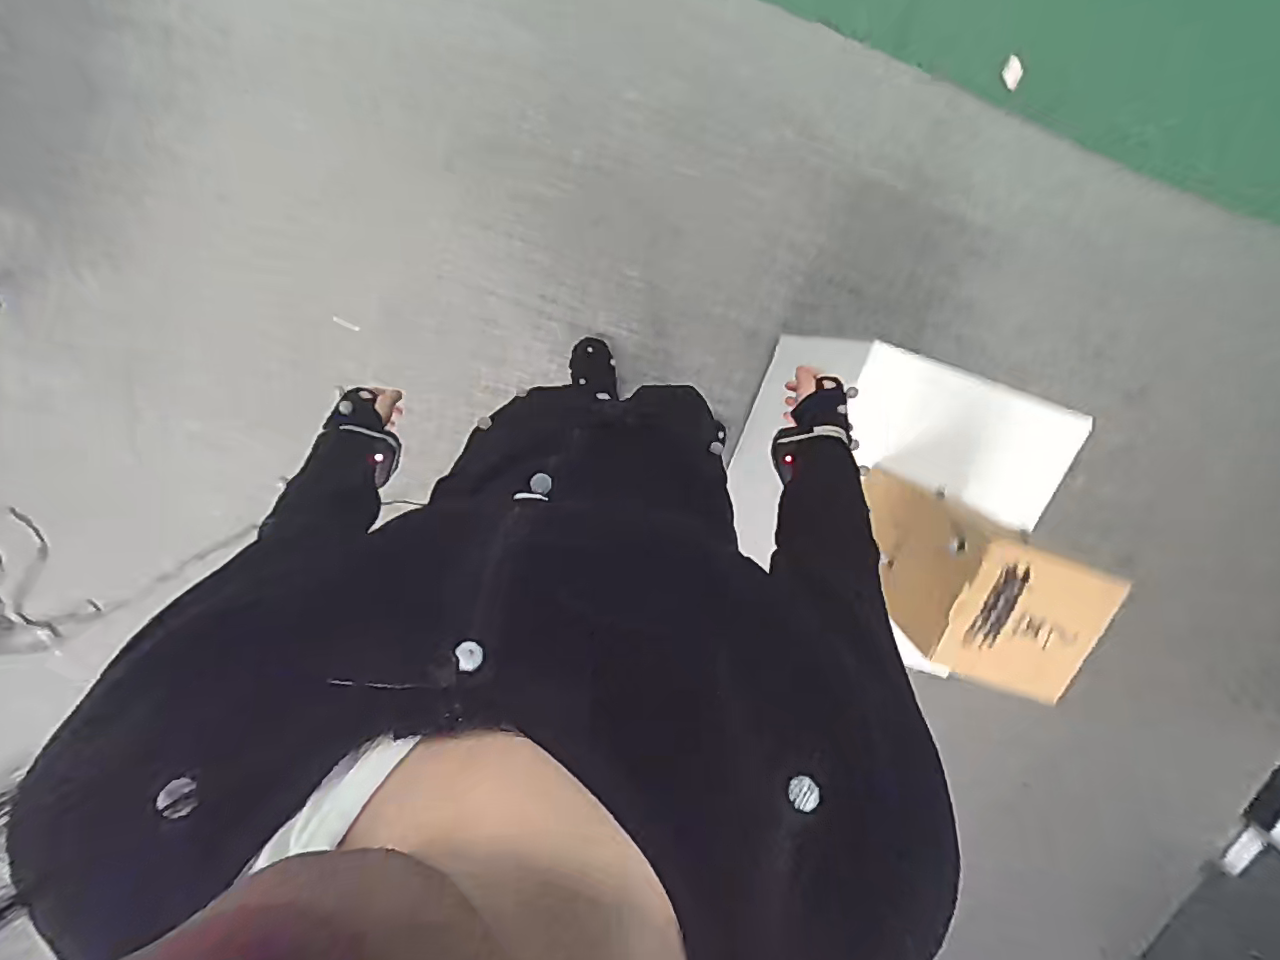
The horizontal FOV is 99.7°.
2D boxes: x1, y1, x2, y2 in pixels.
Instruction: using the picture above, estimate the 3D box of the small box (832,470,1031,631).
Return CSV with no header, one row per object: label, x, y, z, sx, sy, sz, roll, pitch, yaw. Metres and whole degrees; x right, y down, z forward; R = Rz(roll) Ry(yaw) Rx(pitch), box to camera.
small box,0.434,0.099,0.837,0.179,0.176,0.168,21,104,-7
